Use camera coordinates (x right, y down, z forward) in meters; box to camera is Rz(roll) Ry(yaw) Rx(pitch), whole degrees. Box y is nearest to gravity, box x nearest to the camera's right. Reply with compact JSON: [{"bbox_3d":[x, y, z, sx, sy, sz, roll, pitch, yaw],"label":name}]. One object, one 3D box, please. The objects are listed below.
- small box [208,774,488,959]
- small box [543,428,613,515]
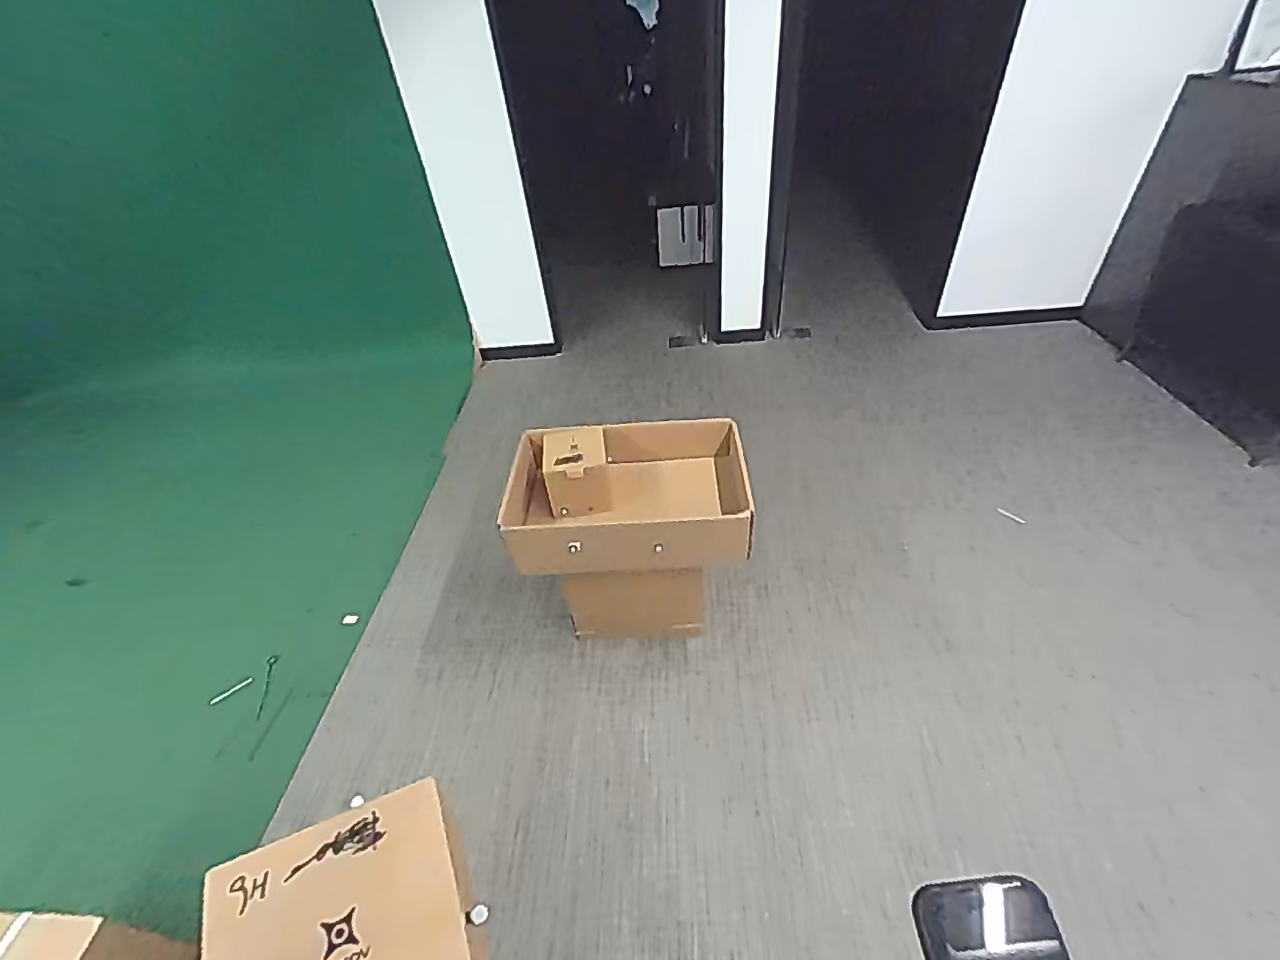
[{"bbox_3d":[-0.226,0.382,0.449,0.168,0.176,0.179,-14,53,-22],"label":"small box"},{"bbox_3d":[-0.168,-0.017,1.494,0.168,0.176,0.179,-8,40,-2],"label":"small box"}]
